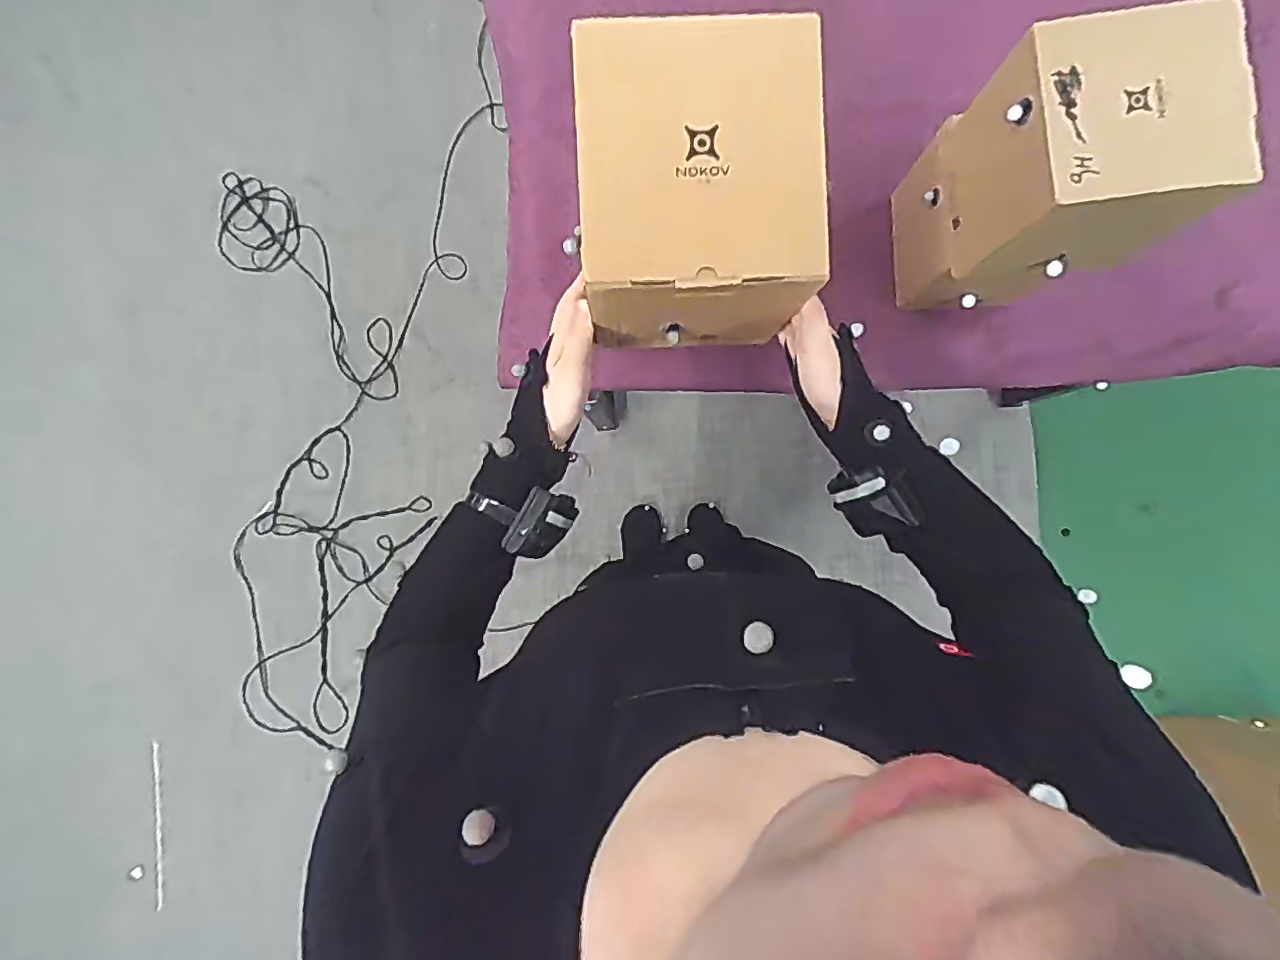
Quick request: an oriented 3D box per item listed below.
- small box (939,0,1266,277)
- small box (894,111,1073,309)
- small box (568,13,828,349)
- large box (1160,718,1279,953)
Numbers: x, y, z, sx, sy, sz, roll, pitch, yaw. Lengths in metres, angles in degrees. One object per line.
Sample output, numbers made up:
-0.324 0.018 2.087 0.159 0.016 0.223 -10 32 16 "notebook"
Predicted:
0.432 -0.318 0.535 0.179 0.176 0.168 -5 87 2 "small box"
0.445 -0.338 0.700 0.168 0.176 0.179 -2 87 2 "small box"
0.034 -0.213 0.427 0.168 0.176 0.179 -3 91 -1 "small box"
1.516 0.819 1.261 0.320 0.320 0.408 -1 88 3 "large box"
